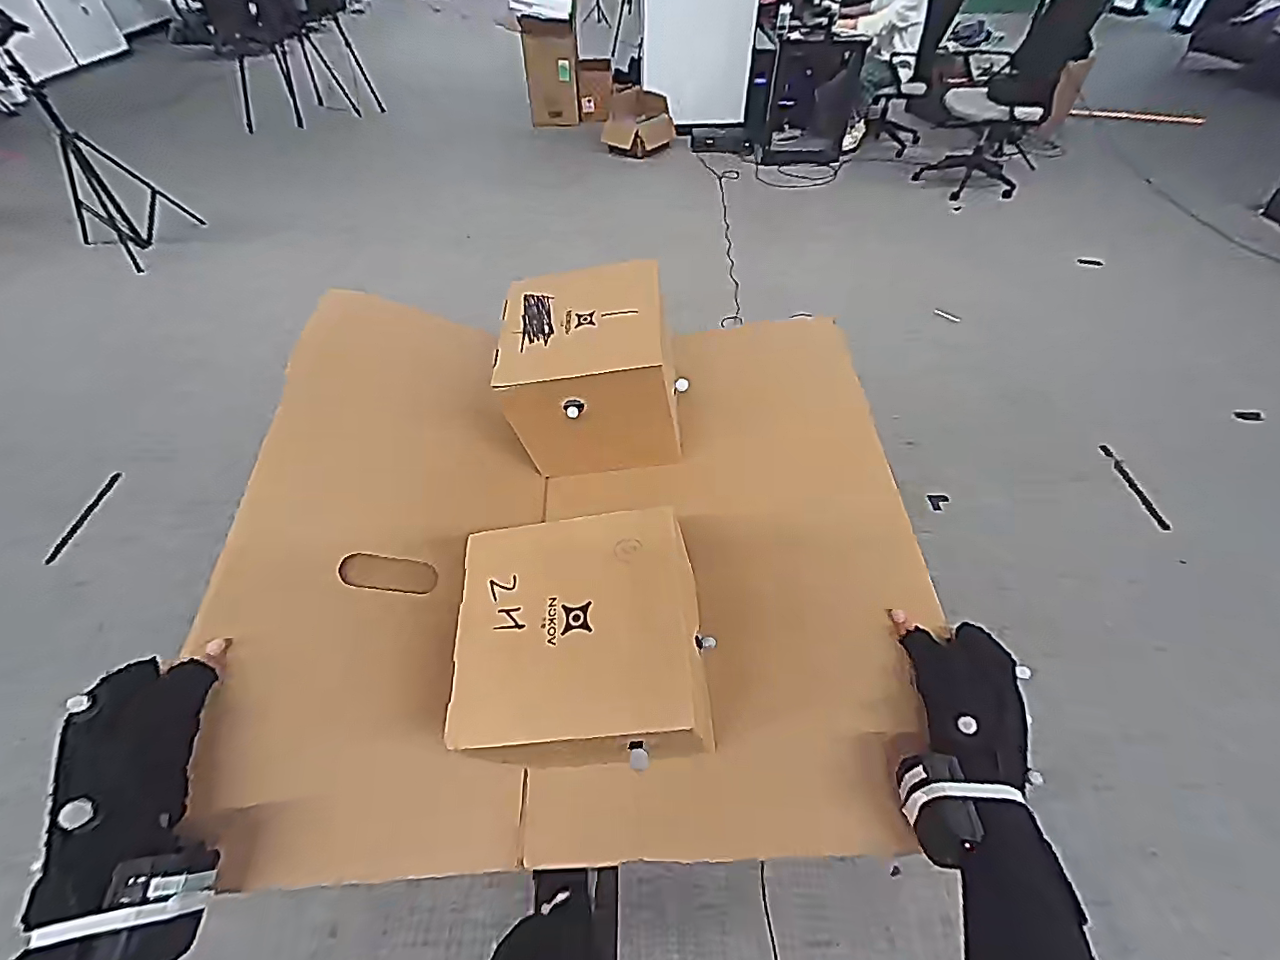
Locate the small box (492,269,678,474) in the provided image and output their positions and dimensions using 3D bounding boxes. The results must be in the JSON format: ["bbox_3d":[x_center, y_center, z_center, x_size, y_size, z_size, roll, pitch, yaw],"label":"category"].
[{"bbox_3d":[-0.053,-0.120,0.650,0.179,0.176,0.168,-6,57,8],"label":"small box"}]

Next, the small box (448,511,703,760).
[{"bbox_3d":[-0.040,0.146,0.479,0.179,0.176,0.168,-9,57,8],"label":"small box"}]
